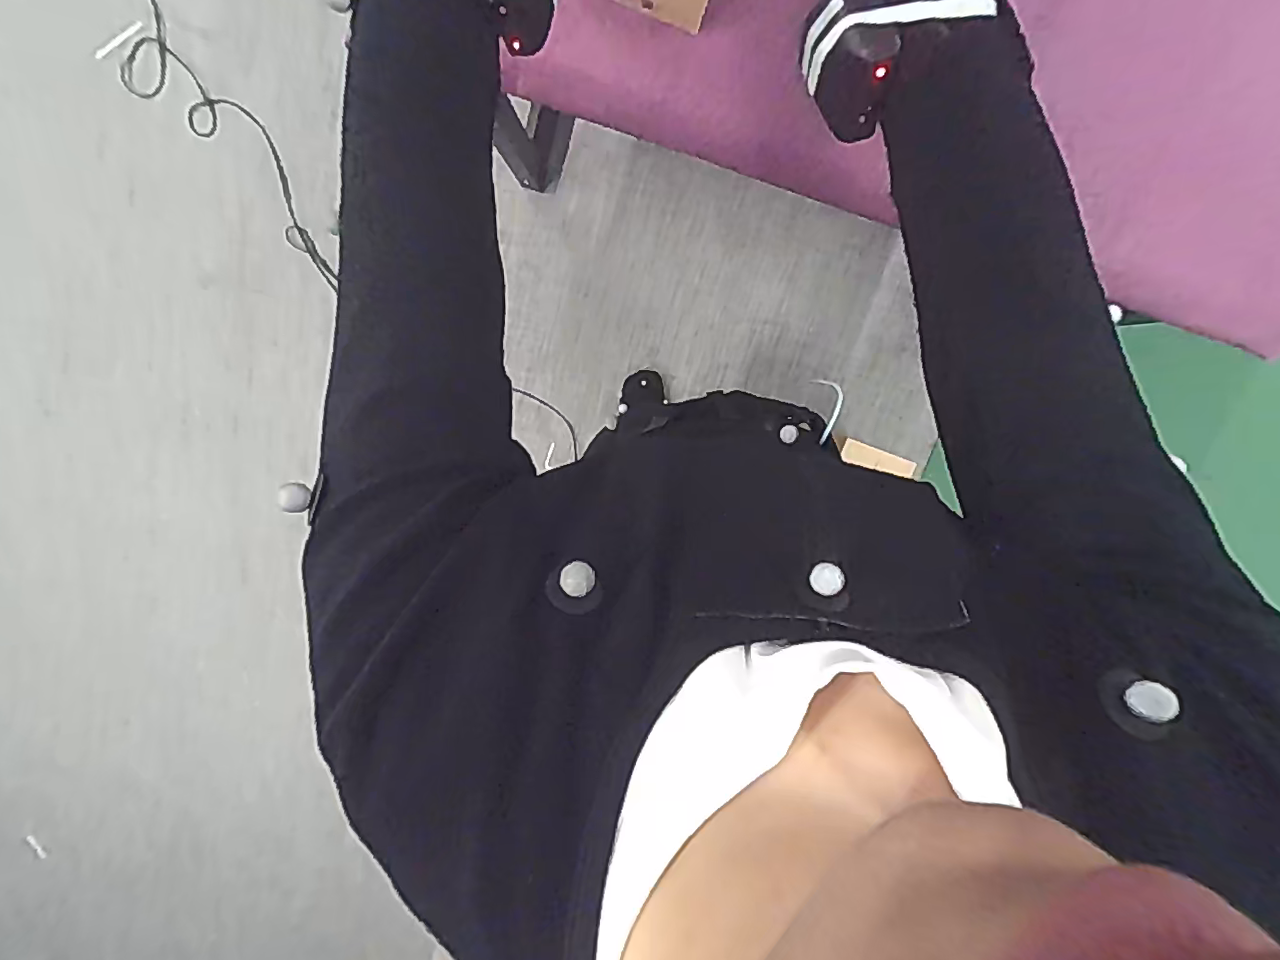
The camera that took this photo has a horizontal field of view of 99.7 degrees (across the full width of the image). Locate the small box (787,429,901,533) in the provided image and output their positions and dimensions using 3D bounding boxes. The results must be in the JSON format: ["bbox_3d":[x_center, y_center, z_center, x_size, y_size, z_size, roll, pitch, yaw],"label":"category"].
[{"bbox_3d":[0.457,-0.004,1.247,0.168,0.176,0.179,21,100,-5],"label":"small box"}]

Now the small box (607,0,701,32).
[{"bbox_3d":[0.013,-0.609,0.531,0.168,0.176,0.179,20,101,-5],"label":"small box"}]
